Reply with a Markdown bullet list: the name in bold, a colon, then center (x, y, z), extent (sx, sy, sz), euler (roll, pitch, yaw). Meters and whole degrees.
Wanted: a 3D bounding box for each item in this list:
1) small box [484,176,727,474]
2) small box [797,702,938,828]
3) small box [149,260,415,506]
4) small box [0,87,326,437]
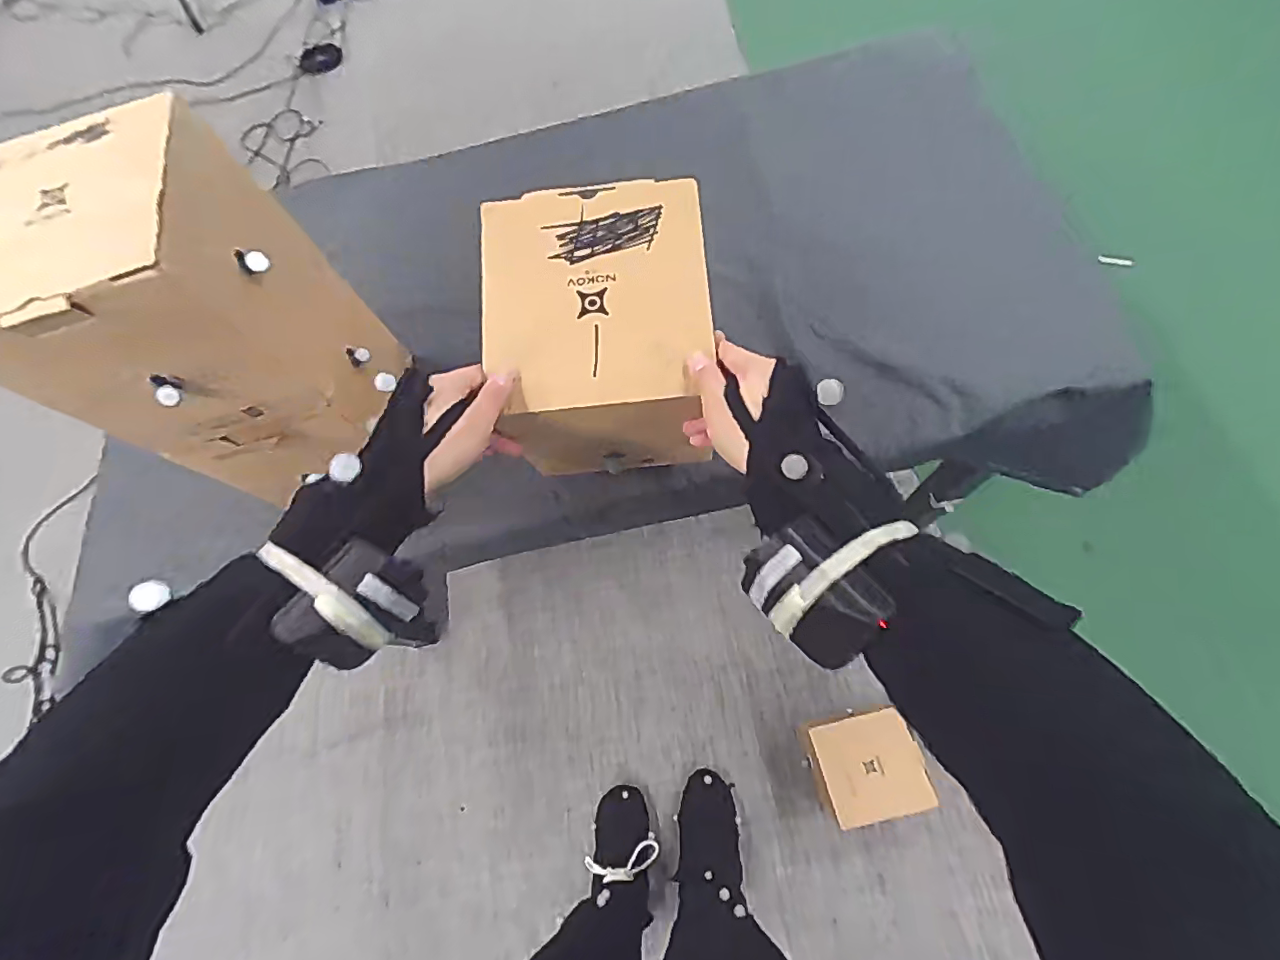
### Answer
- **small box**: center (-0.023, -0.114, 0.456), extent (0.168, 0.176, 0.179), euler (-5, 77, 4)
- **small box**: center (0.415, 0.526, 1.021), extent (0.179, 0.176, 0.168), euler (-17, 67, 2)
- **small box**: center (-0.364, -0.093, 0.580), extent (0.168, 0.176, 0.179), euler (-16, 68, 1)
- **small box**: center (-0.378, -0.150, 0.427), extent (0.168, 0.176, 0.179), euler (-17, 69, 1)
